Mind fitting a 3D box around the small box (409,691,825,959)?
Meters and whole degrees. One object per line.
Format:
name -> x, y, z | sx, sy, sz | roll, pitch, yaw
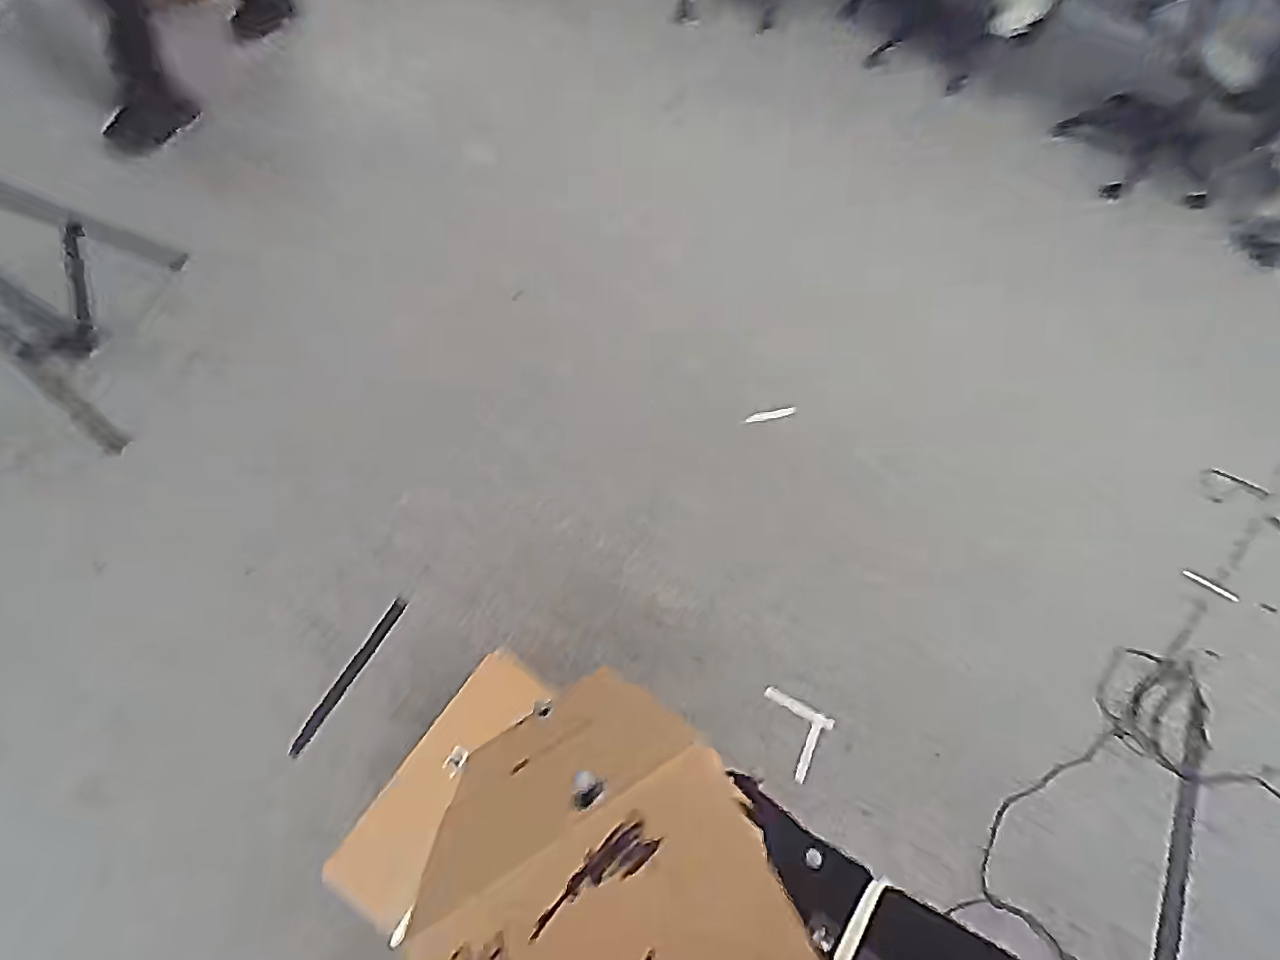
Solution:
small box -> -0.009, 0.258, 0.326 | 0.168, 0.176, 0.179 | -27, 87, -16
